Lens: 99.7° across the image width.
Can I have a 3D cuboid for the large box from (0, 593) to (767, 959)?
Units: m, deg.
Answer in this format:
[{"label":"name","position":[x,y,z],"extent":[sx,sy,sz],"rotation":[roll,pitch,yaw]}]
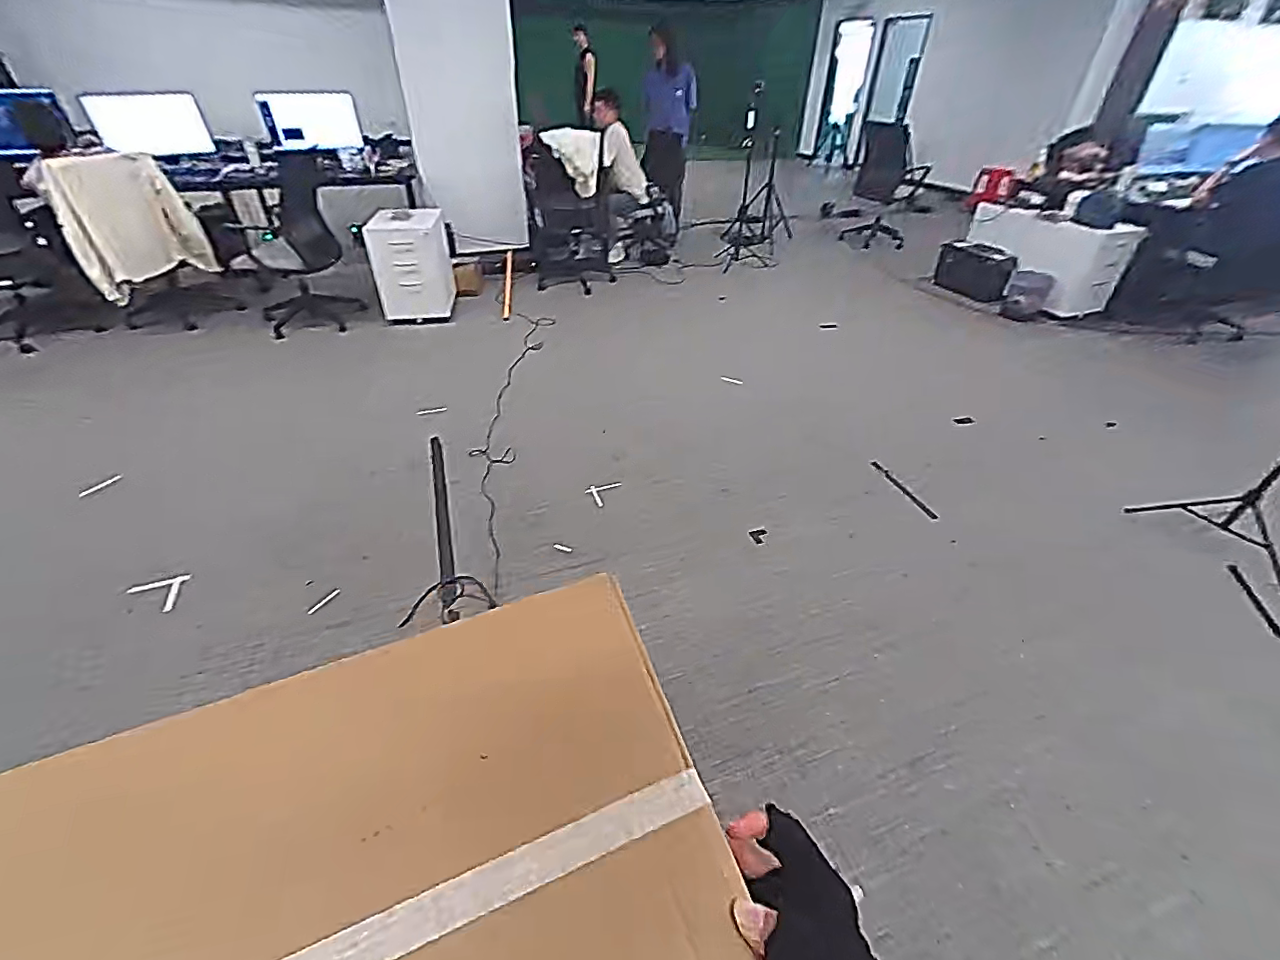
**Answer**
[{"label":"large box","position":[-0.152,0.341,0.389],"extent":[0.408,0.320,0.320],"rotation":[-16,52,-15]}]
